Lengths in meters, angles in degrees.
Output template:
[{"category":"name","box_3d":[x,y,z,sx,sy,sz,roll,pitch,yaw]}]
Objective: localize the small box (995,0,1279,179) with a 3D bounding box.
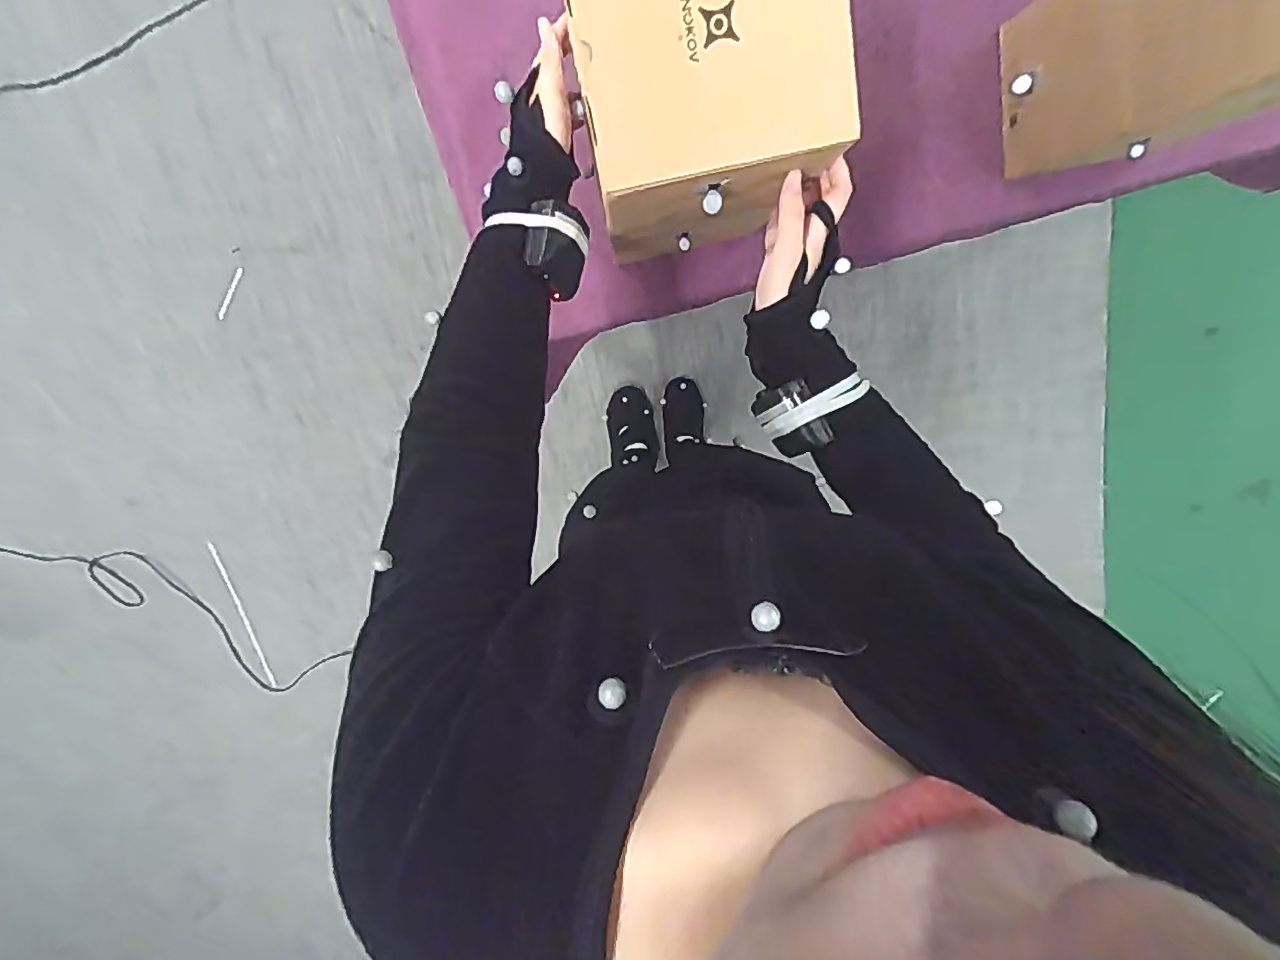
[{"category":"small box","box_3d":[0.510,-0.439,0.561,0.179,0.176,0.168,-12,103,3]}]

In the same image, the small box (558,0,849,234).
[{"category":"small box","box_3d":[0.040,-0.306,0.419,0.179,0.176,0.168,-11,104,4]}]

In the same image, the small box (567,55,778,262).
[{"category":"small box","box_3d":[0.033,-0.343,0.578,0.179,0.176,0.168,-11,104,2]}]
